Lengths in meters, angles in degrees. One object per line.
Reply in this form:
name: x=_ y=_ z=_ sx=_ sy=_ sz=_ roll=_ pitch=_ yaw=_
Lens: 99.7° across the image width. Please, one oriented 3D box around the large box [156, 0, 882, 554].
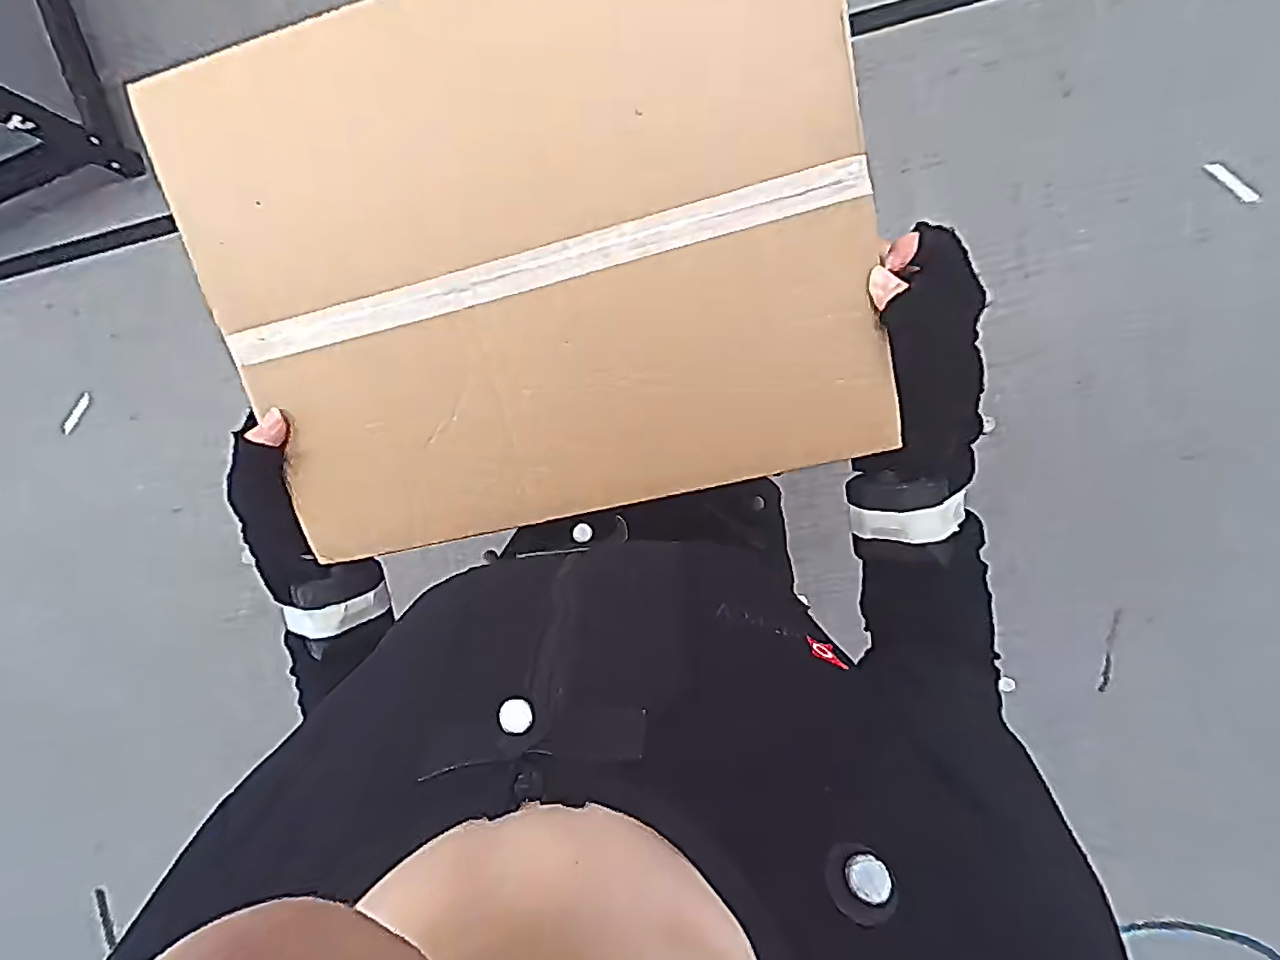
large box: x=-0.058 y=-0.170 z=0.480 sx=0.408 sy=0.320 sz=0.320 roll=-12 pitch=103 yaw=8
